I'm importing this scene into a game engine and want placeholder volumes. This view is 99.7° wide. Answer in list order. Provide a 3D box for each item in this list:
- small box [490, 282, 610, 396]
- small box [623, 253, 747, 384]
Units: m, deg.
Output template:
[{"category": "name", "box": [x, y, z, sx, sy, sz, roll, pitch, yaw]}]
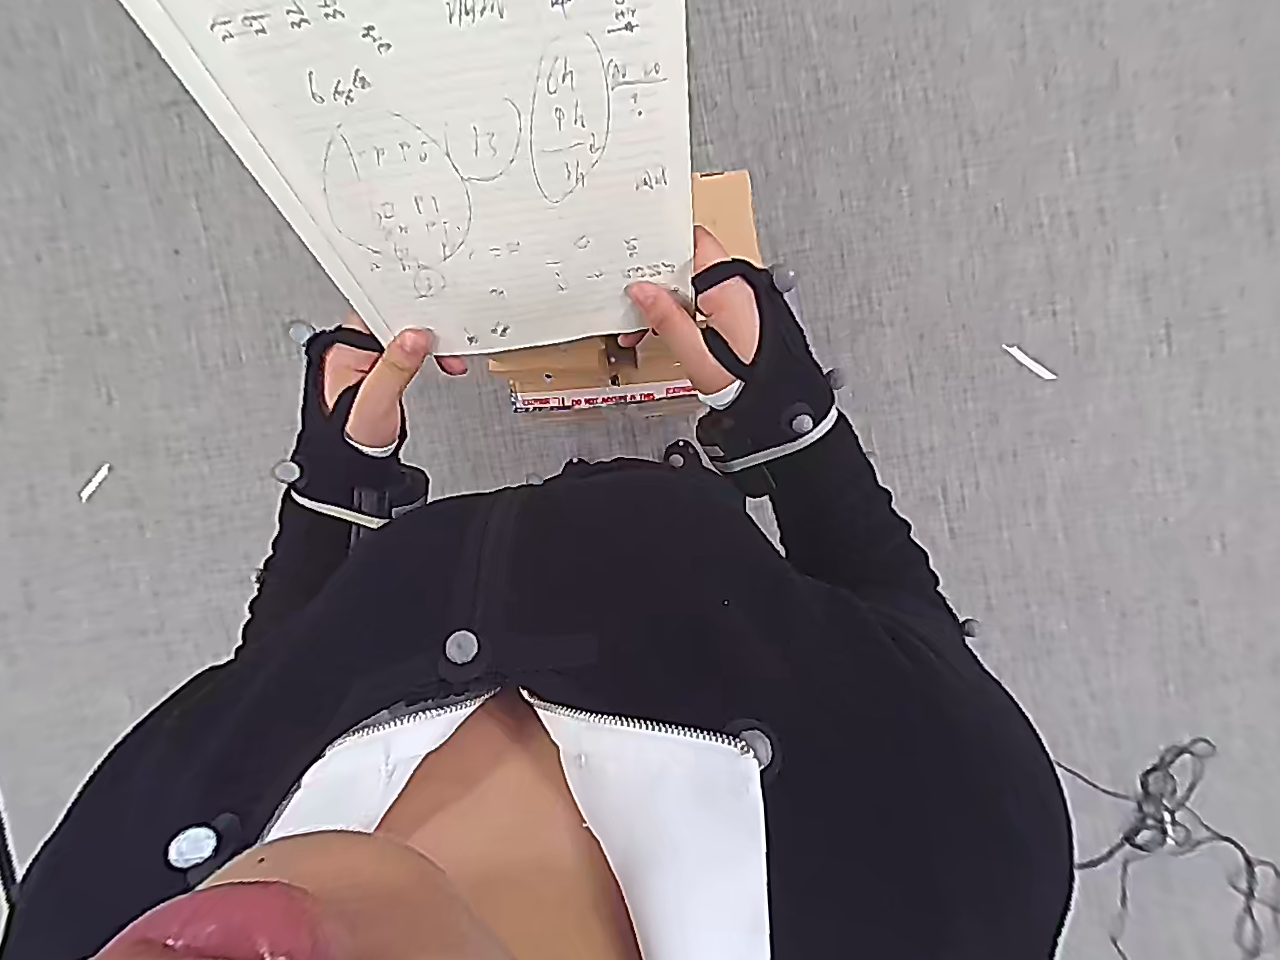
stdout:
[{"category": "small box", "box": [-0.145, -0.235, 0.934, 0.179, 0.176, 0.168, -2, 94, 3]}, {"category": "small box", "box": [0.070, -0.267, 0.930, 0.179, 0.176, 0.168, -11, 94, 0]}]
